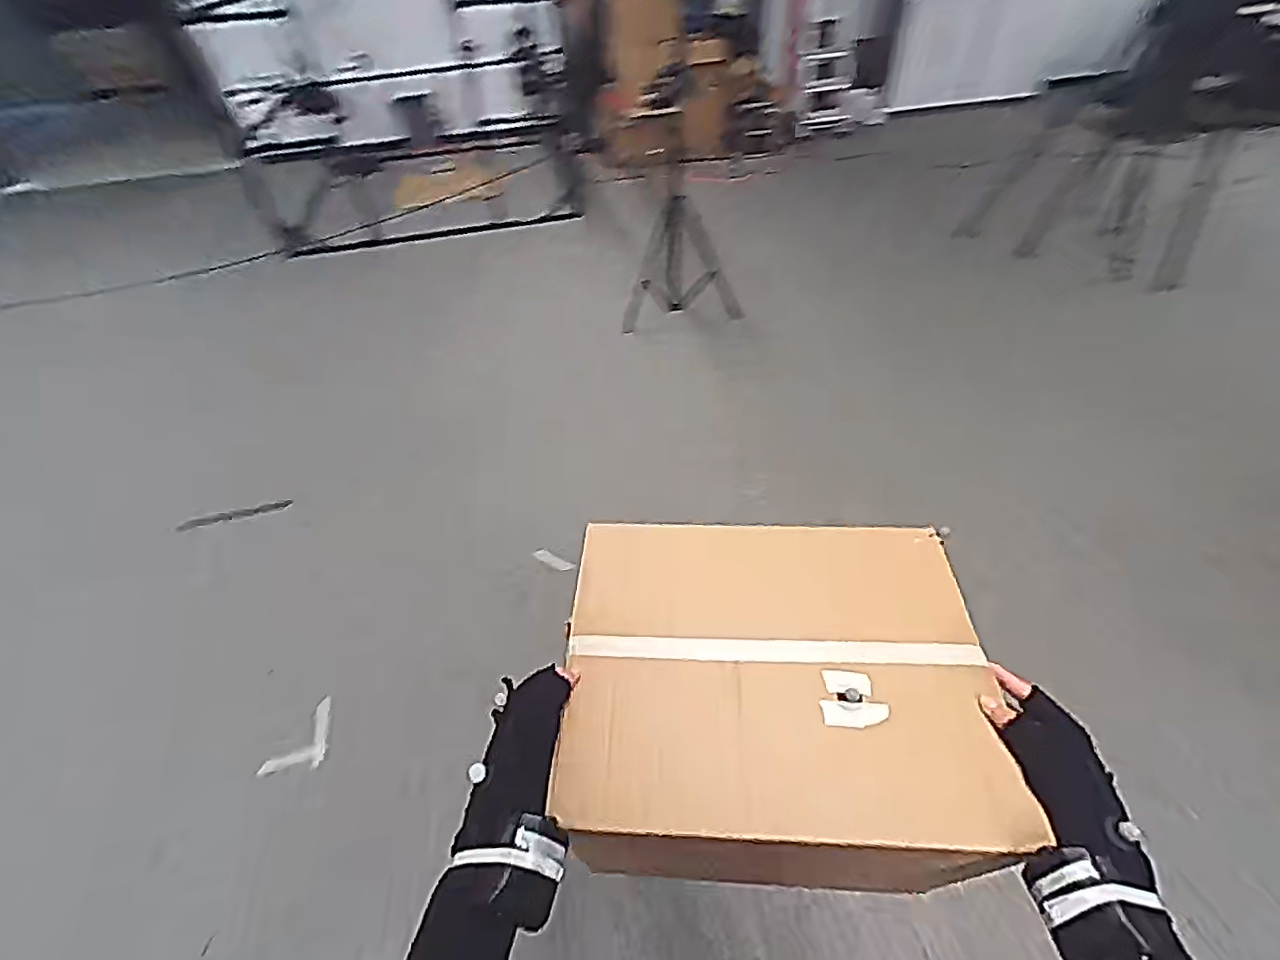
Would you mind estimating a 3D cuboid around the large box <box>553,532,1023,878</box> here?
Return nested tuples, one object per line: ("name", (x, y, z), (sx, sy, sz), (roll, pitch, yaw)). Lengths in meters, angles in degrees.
("large box", (0.128, 0.279, 0.661), (0.408, 0.320, 0.320), (-1, 49, 3))
